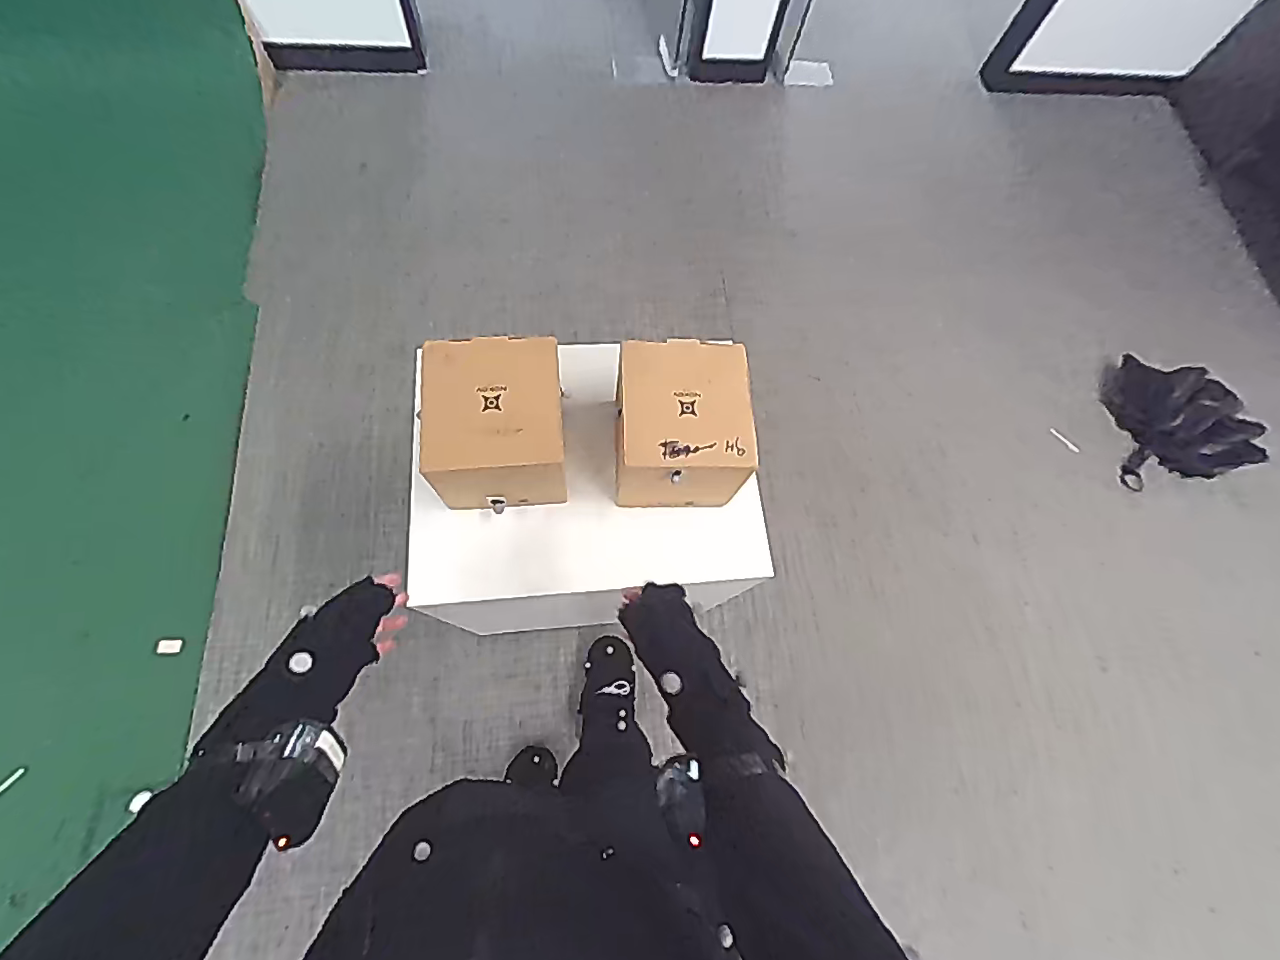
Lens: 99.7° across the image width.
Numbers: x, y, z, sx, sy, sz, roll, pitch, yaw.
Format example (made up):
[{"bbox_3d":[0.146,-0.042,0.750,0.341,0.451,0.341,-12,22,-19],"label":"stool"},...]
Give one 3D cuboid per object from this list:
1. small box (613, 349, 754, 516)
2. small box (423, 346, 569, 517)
[{"bbox_3d":[0.049,-0.059,0.756,0.168,0.176,0.179,1,69,-6],"label":"small box"},{"bbox_3d":[-0.186,-0.060,0.733,0.168,0.176,0.179,-5,72,-7],"label":"small box"}]
